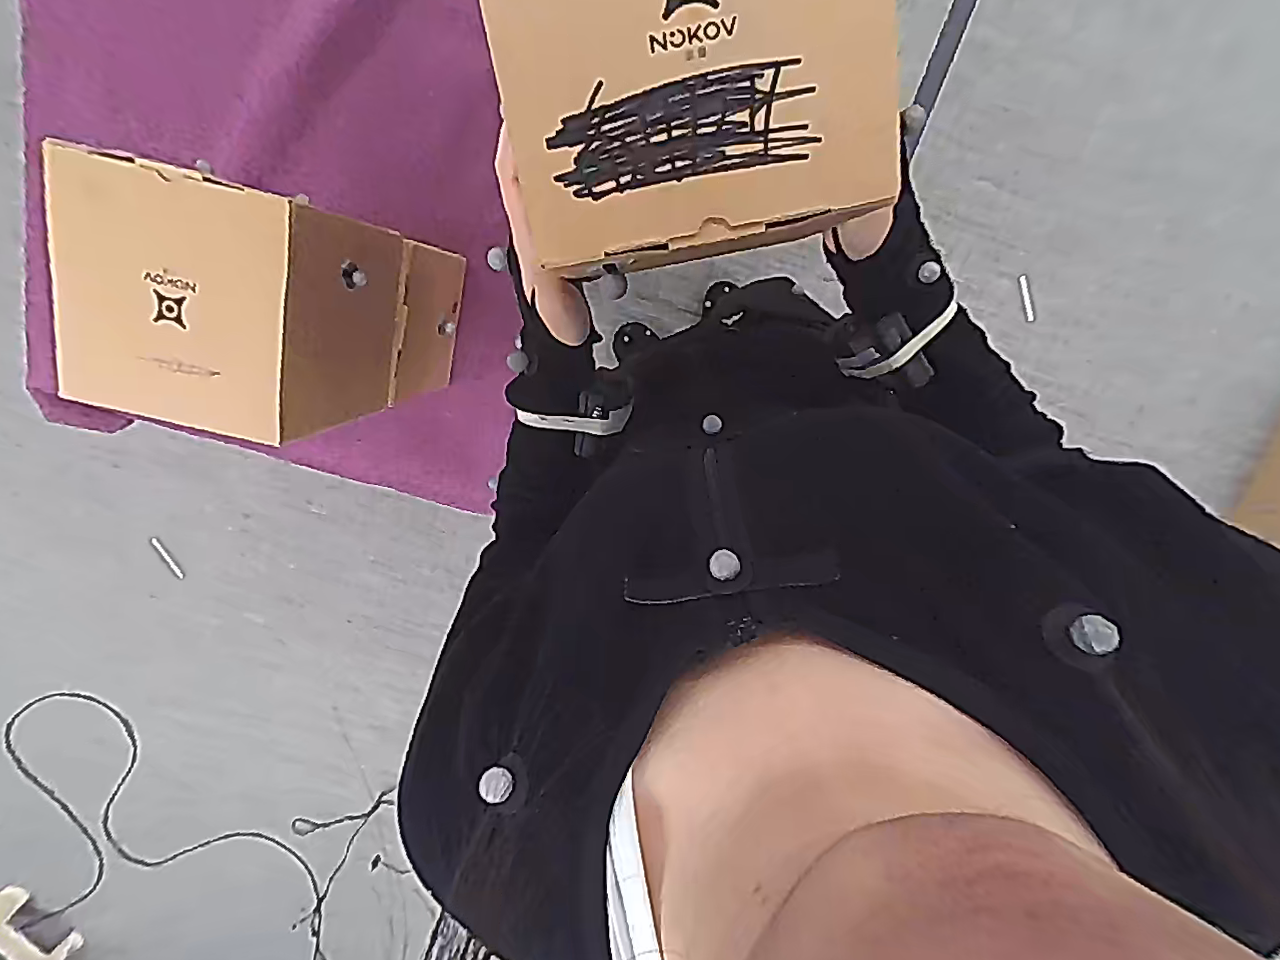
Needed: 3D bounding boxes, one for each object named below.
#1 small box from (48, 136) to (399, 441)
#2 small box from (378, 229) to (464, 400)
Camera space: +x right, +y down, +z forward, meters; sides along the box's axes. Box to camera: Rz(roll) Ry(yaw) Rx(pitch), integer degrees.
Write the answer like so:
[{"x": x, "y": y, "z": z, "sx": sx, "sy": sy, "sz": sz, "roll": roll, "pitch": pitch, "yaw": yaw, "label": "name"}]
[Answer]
[{"x": -0.325, "y": -0.151, "z": 0.459, "sx": 0.168, "sy": 0.176, "sz": 0.179, "roll": 13, "pitch": 108, "yaw": -2, "label": "small box"}, {"x": -0.322, "y": -0.200, "z": 0.613, "sx": 0.179, "sy": 0.176, "sz": 0.168, "roll": 13, "pitch": 107, "yaw": -4, "label": "small box"}]
